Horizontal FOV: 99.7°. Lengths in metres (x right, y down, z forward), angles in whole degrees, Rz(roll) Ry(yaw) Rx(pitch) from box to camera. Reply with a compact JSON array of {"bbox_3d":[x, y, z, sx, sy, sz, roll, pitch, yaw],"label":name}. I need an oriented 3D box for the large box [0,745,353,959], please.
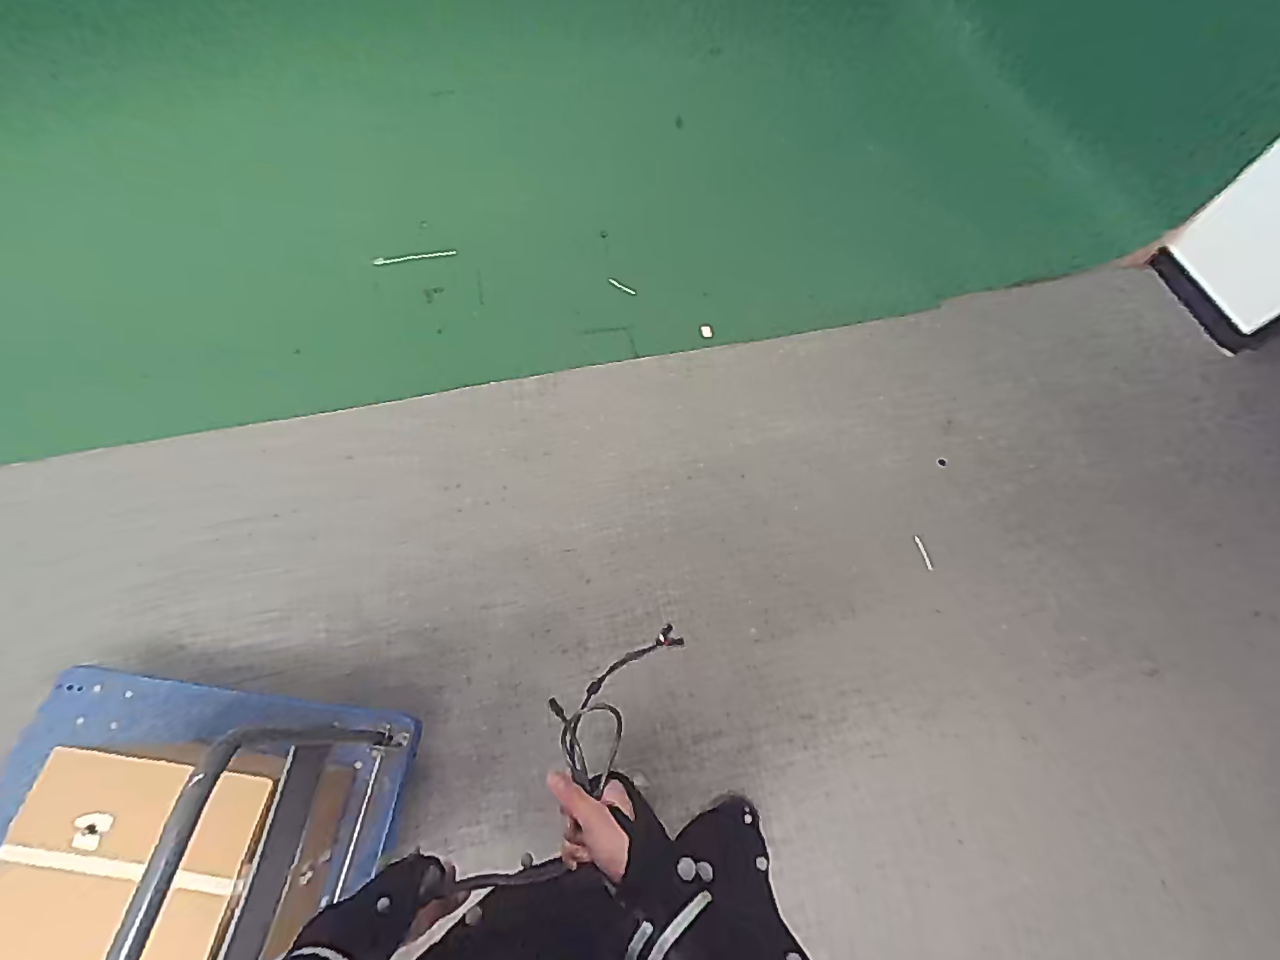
[{"bbox_3d":[-0.844,0.695,1.013,0.408,0.320,0.320,7,65,3],"label":"large box"}]
